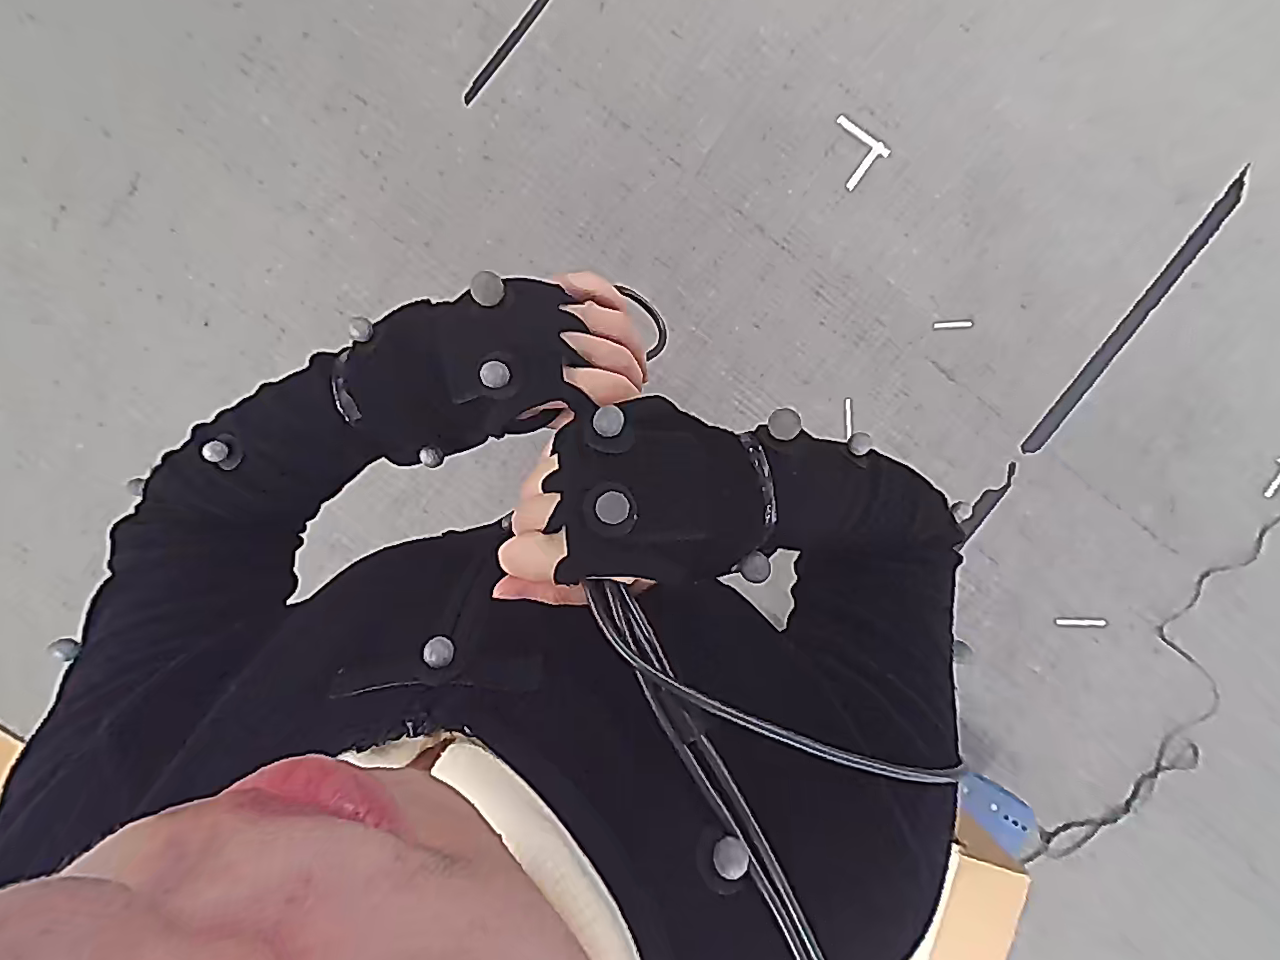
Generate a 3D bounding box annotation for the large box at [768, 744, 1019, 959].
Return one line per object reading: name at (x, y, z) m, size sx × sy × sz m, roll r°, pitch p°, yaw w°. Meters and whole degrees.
large box at (0.512, 0.867, 1.165) m, size 0.320 × 0.320 × 0.408 m, roll 19°, pitch 90°, yaw 0°
